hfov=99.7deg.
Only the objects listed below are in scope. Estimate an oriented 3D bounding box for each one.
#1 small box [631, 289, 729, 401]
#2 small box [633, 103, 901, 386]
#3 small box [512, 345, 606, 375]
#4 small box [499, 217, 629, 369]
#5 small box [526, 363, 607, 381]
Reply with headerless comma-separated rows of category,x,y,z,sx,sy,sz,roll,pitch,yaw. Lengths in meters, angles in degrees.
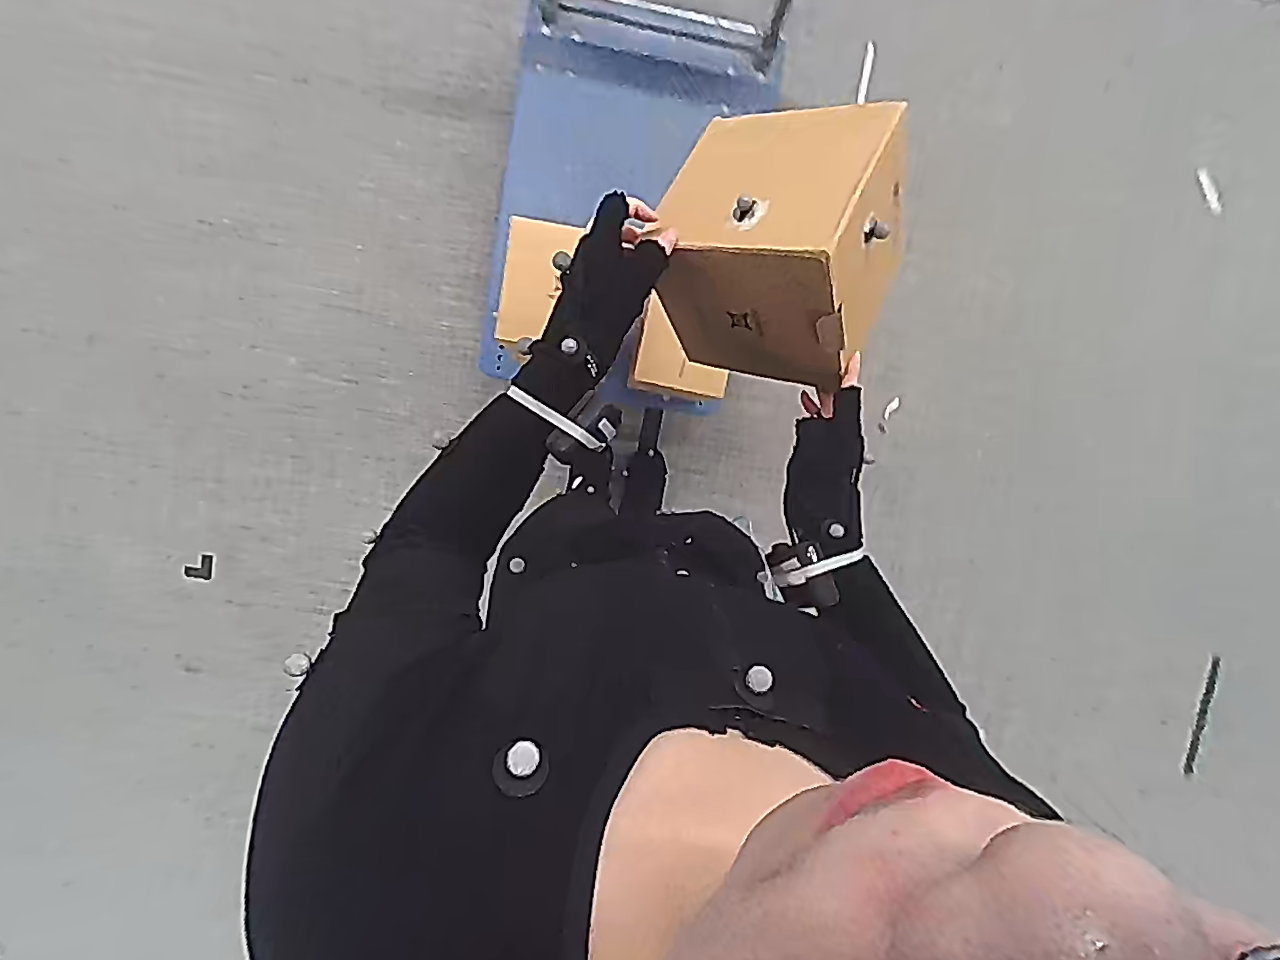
small box,0.080,-0.254,1.034,0.168,0.176,0.179,12,96,-5
small box,0.128,-0.216,0.505,0.179,0.168,0.176,20,73,31
small box,-0.136,-0.297,1.014,0.168,0.176,0.179,7,96,-5
small box,-0.115,-0.282,0.853,0.168,0.176,0.179,9,96,-5
small box,-0.145,-0.316,1.178,0.168,0.176,0.179,8,95,-5
